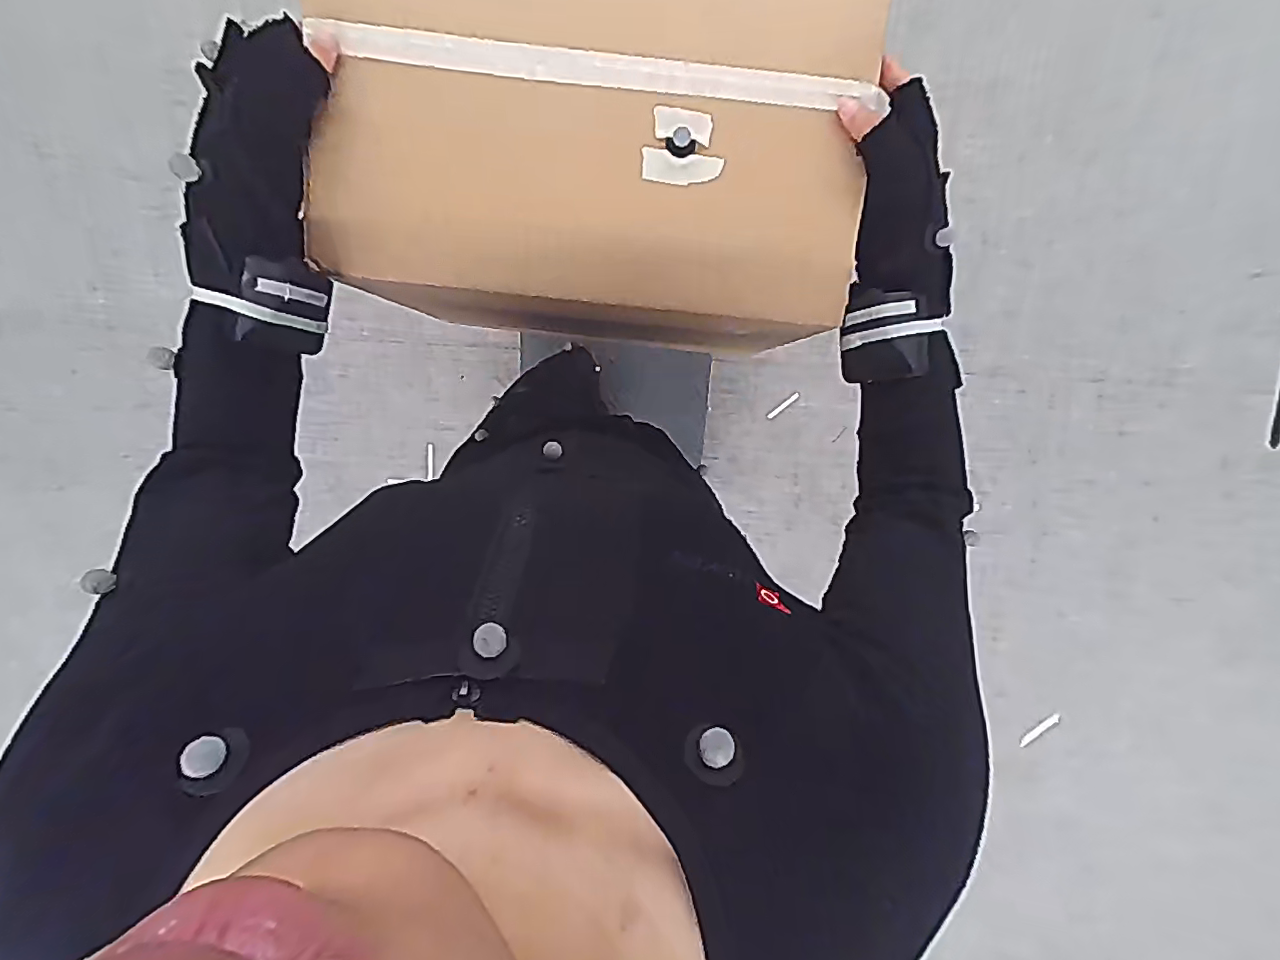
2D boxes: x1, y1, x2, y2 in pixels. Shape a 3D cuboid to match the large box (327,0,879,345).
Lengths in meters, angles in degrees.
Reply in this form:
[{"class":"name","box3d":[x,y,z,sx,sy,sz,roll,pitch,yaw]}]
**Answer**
[{"class":"large box","box3d":[-0.033,-0.323,0.545,0.408,0.320,0.320,5,99,-2]}]
